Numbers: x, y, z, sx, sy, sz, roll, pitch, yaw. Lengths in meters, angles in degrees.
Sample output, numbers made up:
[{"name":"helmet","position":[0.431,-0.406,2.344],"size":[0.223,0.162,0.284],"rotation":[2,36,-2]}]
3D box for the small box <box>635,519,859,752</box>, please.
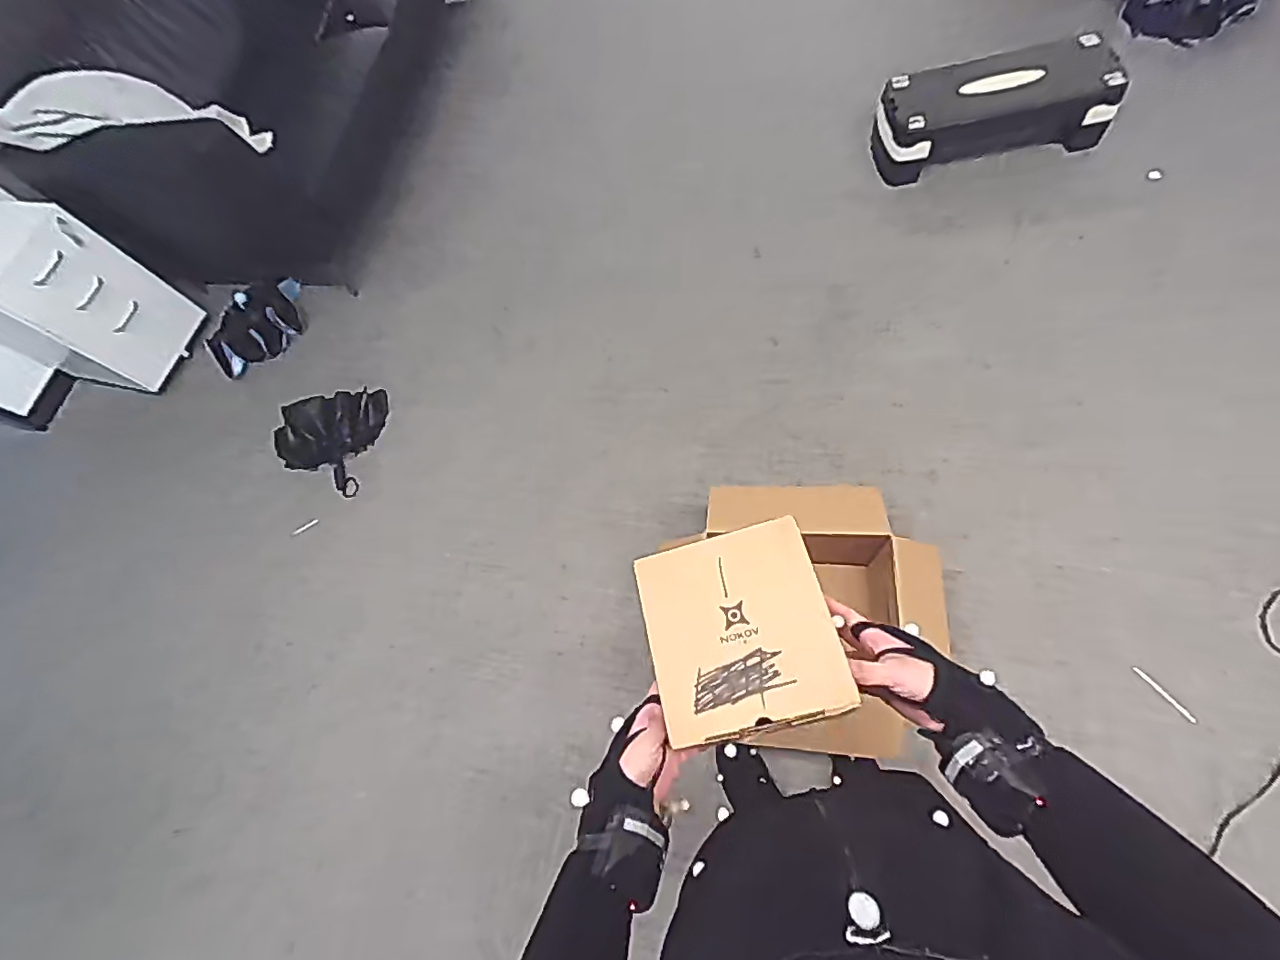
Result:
[{"name":"small box","position":[0.109,0.167,0.556],"size":[0.168,0.176,0.179],"rotation":[-17,60,8]}]
